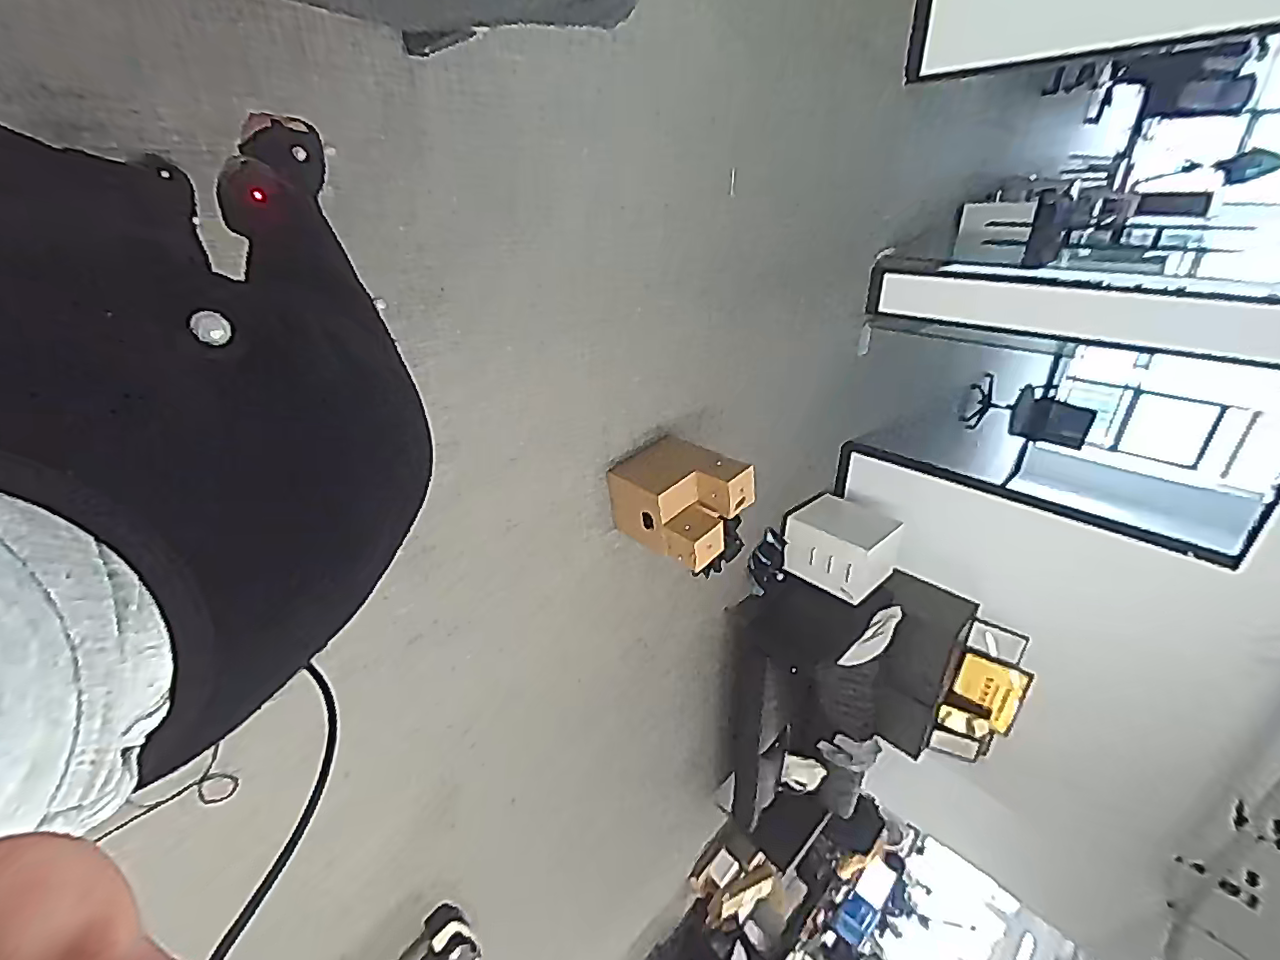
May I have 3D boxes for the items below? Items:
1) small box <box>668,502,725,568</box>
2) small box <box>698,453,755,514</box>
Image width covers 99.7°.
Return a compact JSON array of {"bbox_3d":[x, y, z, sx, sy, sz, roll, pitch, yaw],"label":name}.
[{"bbox_3d":[0.225,0.220,2.198,0.179,0.176,0.168,-36,135,-31],"label":"small box"},{"bbox_3d":[0.359,0.010,2.236,0.168,0.176,0.179,-31,127,-33],"label":"small box"}]
